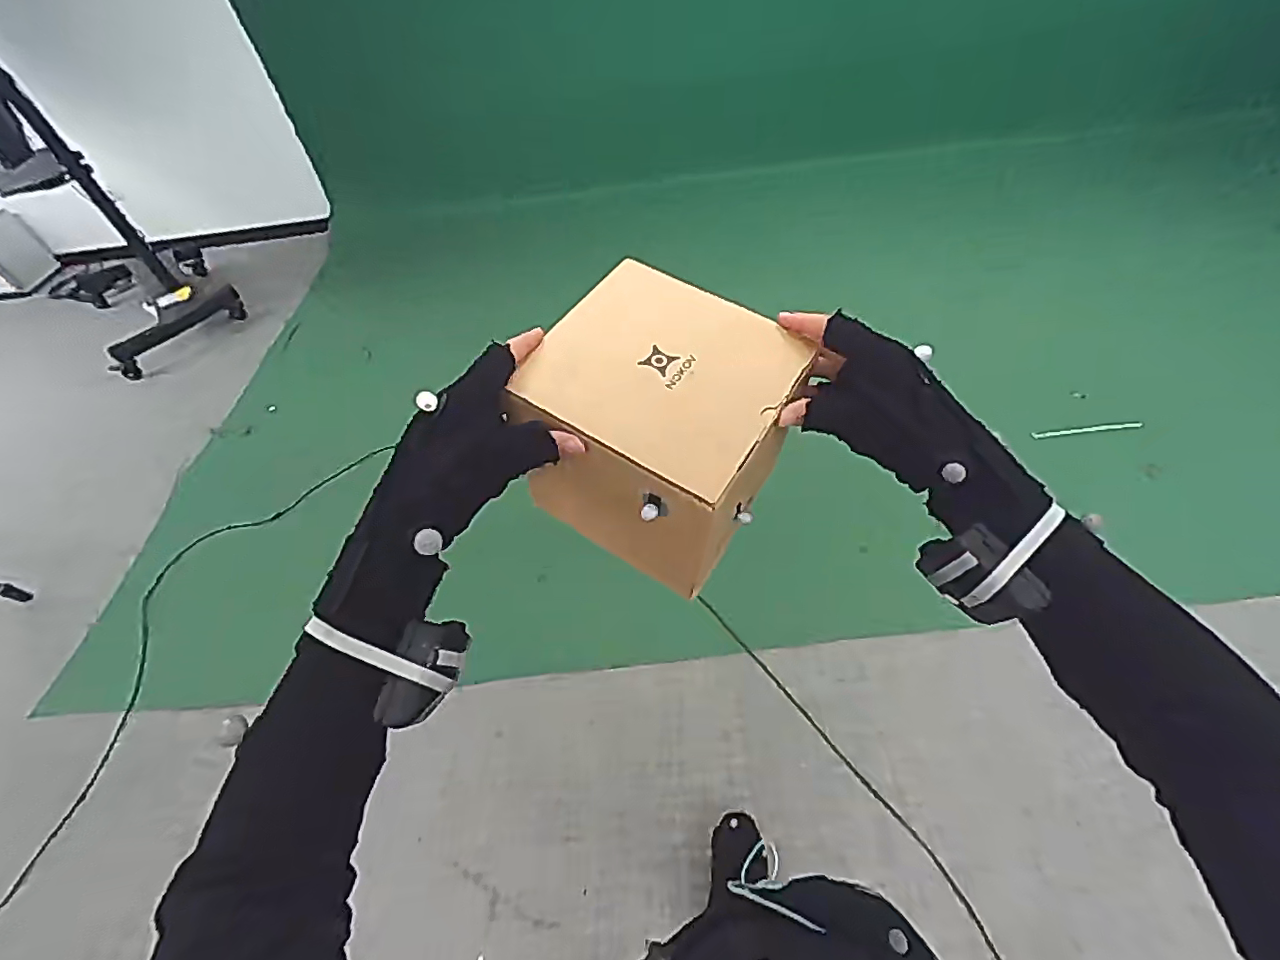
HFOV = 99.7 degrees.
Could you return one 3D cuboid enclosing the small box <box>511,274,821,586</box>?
[{"bbox_3d":[0.020,-0.036,0.463,0.179,0.176,0.168,30,63,16],"label":"small box"}]
